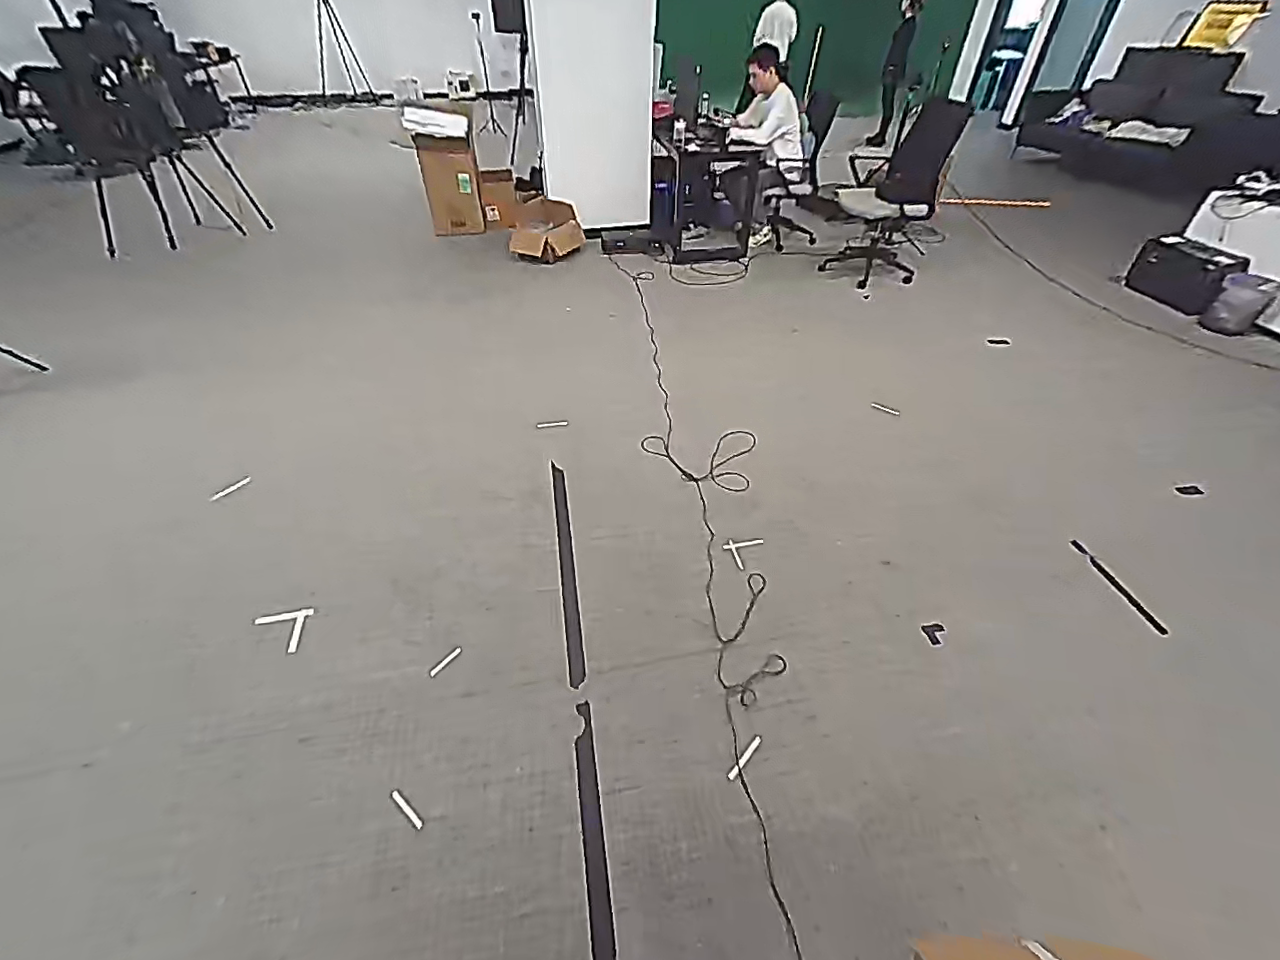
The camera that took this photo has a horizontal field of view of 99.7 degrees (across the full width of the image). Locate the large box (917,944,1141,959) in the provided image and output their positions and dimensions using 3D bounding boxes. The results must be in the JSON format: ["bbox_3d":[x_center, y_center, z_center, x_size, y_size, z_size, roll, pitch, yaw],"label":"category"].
[{"bbox_3d":[0.521,0.741,0.516,0.320,0.408,0.320,-1,74,3],"label":"large box"}]
